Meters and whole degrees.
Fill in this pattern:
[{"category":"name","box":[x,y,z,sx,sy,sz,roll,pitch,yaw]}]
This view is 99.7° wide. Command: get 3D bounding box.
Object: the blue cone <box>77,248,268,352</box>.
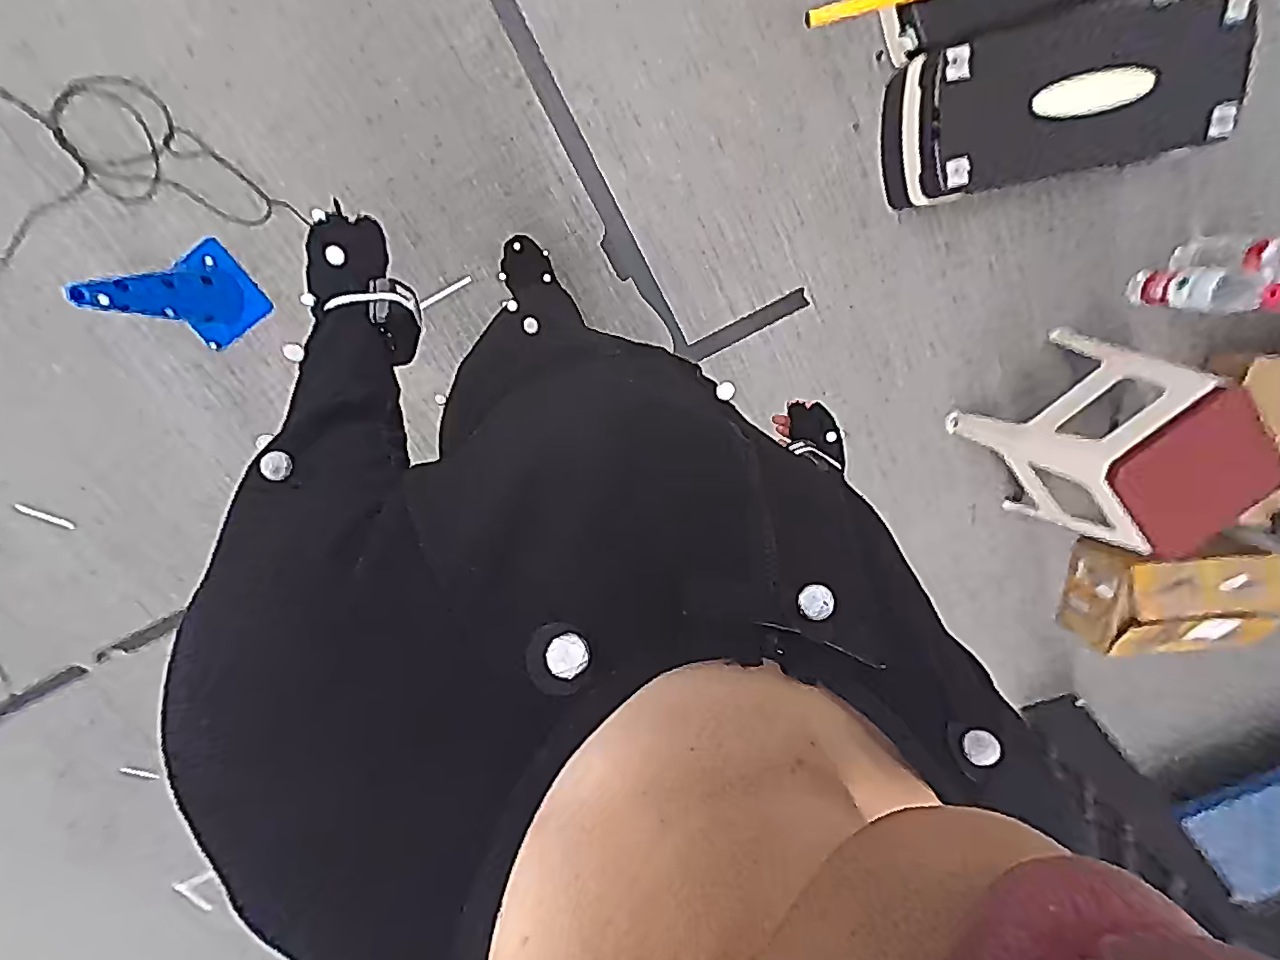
[{"category":"blue cone","box":[-1.008,-0.379,1.140,0.193,0.380,0.192,-32,108,7]}]
